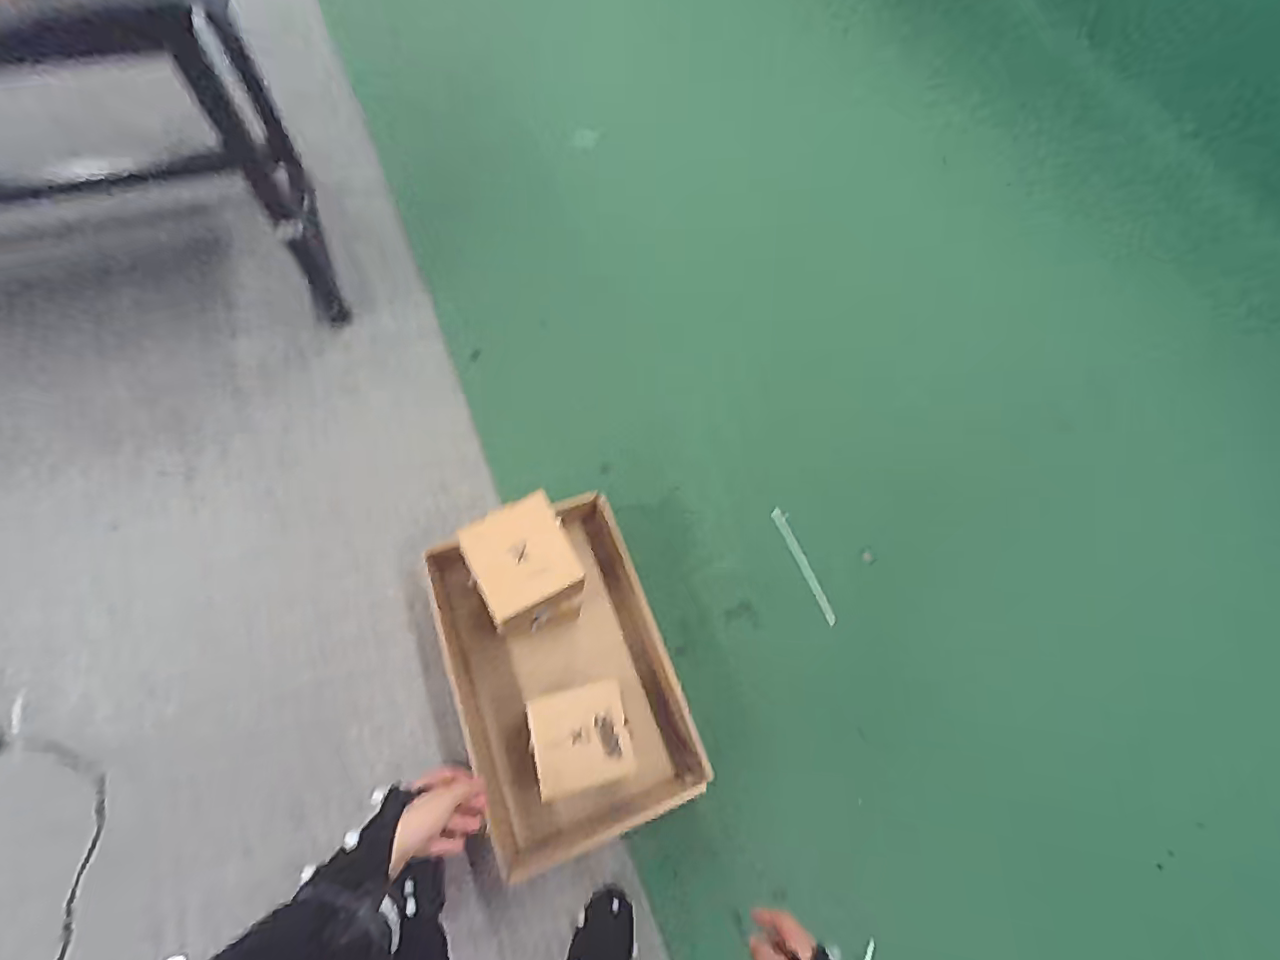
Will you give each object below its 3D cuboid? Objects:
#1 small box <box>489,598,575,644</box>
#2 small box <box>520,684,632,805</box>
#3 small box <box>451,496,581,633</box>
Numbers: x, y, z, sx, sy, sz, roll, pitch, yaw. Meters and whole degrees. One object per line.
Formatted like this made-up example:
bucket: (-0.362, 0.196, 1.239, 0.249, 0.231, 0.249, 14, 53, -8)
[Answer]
small box: (-0.242, 0.227, 1.137, 0.168, 0.176, 0.179, -16, 70, -14)
small box: (-0.124, 0.498, 1.039, 0.179, 0.176, 0.168, -11, 68, -11)
small box: (-0.222, 0.160, 0.988, 0.168, 0.176, 0.179, -27, 75, -16)
